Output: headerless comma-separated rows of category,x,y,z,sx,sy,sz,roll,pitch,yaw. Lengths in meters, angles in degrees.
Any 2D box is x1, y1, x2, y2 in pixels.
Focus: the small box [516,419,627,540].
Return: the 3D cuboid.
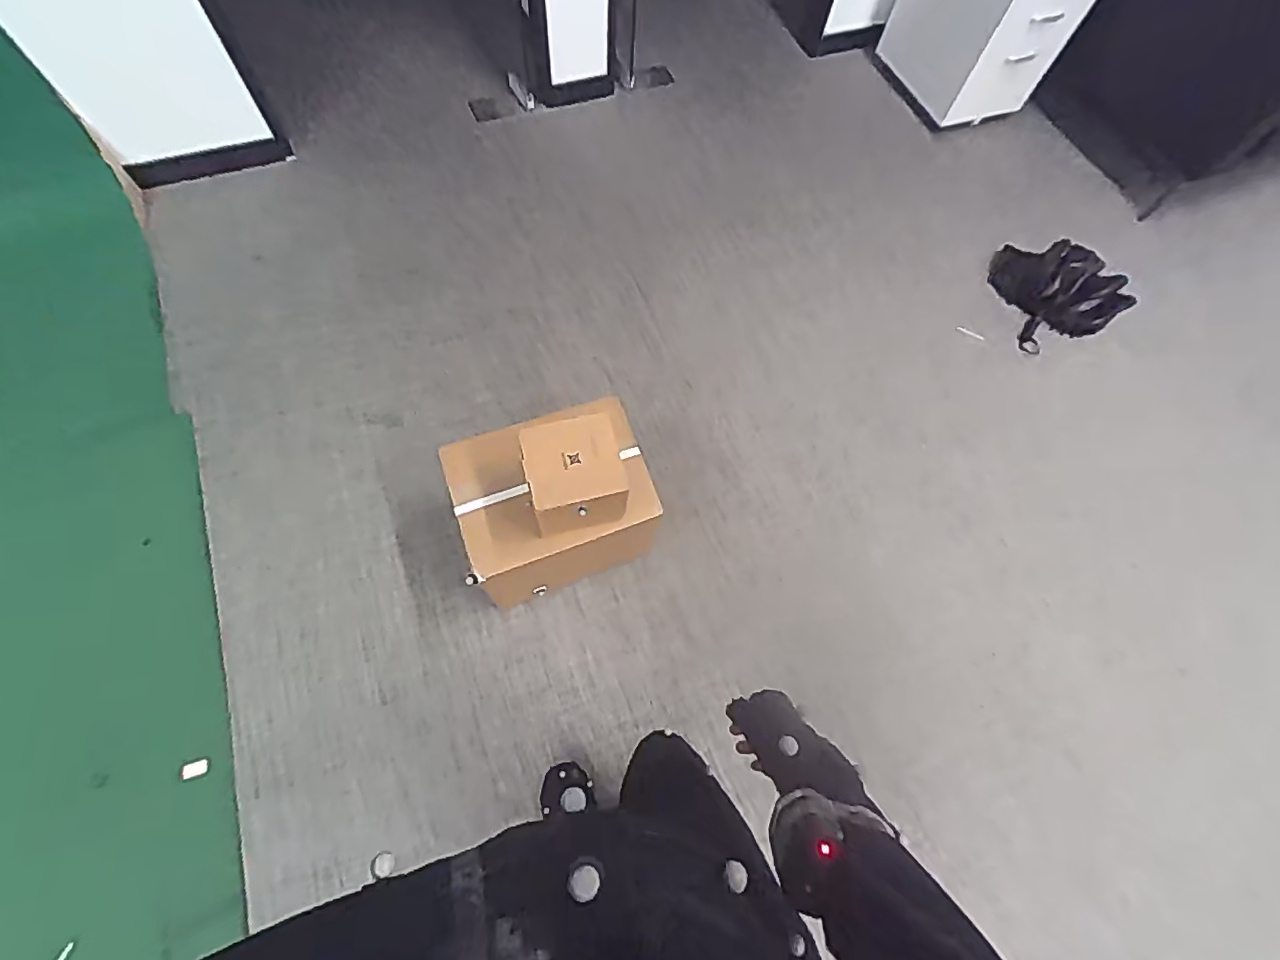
small box,-0.132,0.005,1.058,0.179,0.176,0.168,-13,71,-11
